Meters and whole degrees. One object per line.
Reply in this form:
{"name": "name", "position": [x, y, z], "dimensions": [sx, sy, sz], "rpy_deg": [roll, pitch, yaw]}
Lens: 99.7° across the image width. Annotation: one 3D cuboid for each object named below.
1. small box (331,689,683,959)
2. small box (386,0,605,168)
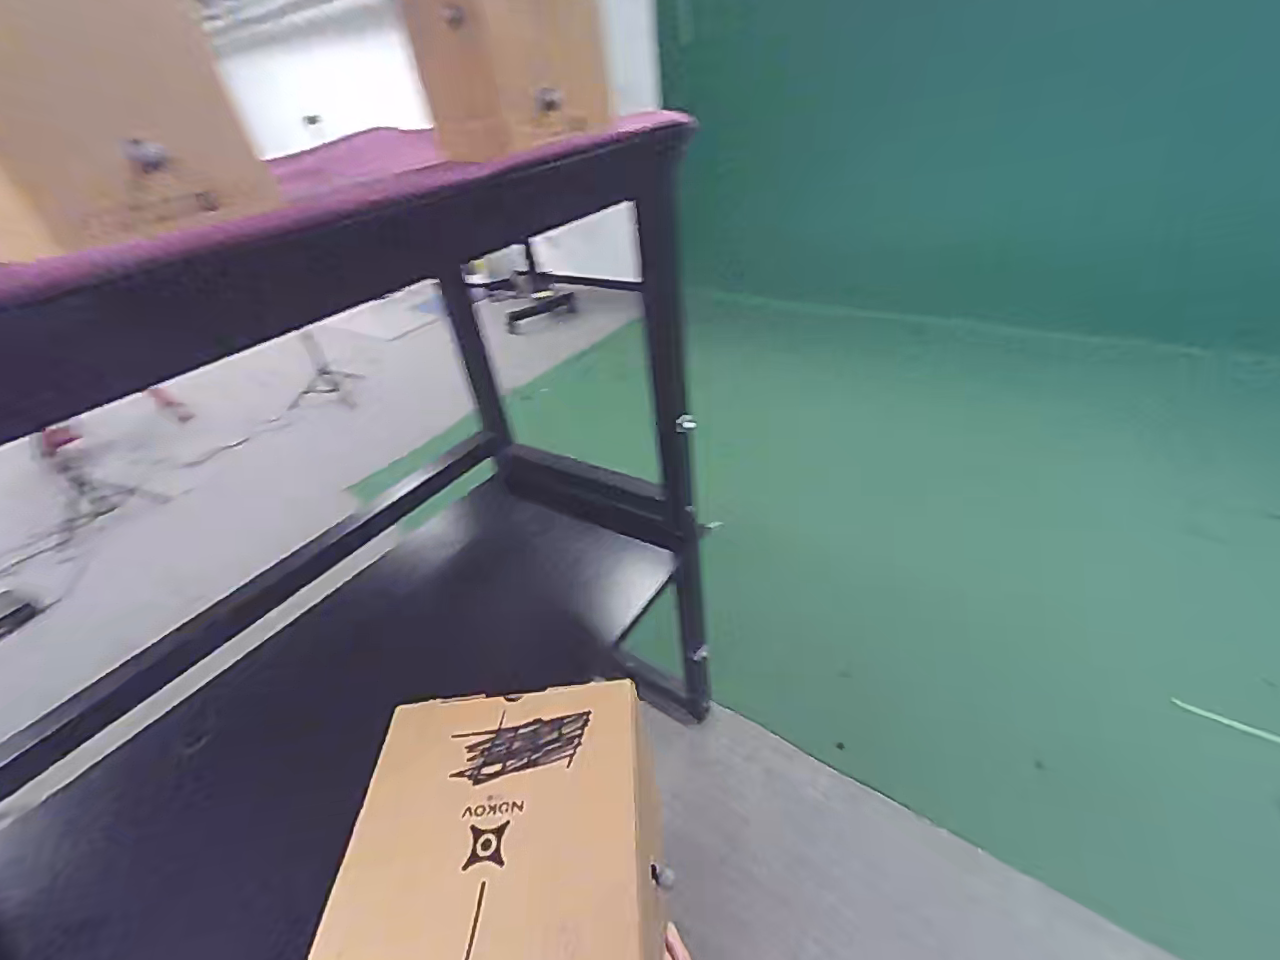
{"name": "small box", "position": [-0.062, 0.265, 0.346], "dimensions": [0.168, 0.176, 0.179], "rpy_deg": [-7, 35, 2]}
{"name": "small box", "position": [-0.163, -0.480, 0.645], "dimensions": [0.179, 0.176, 0.168], "rpy_deg": [28, 50, 36]}
